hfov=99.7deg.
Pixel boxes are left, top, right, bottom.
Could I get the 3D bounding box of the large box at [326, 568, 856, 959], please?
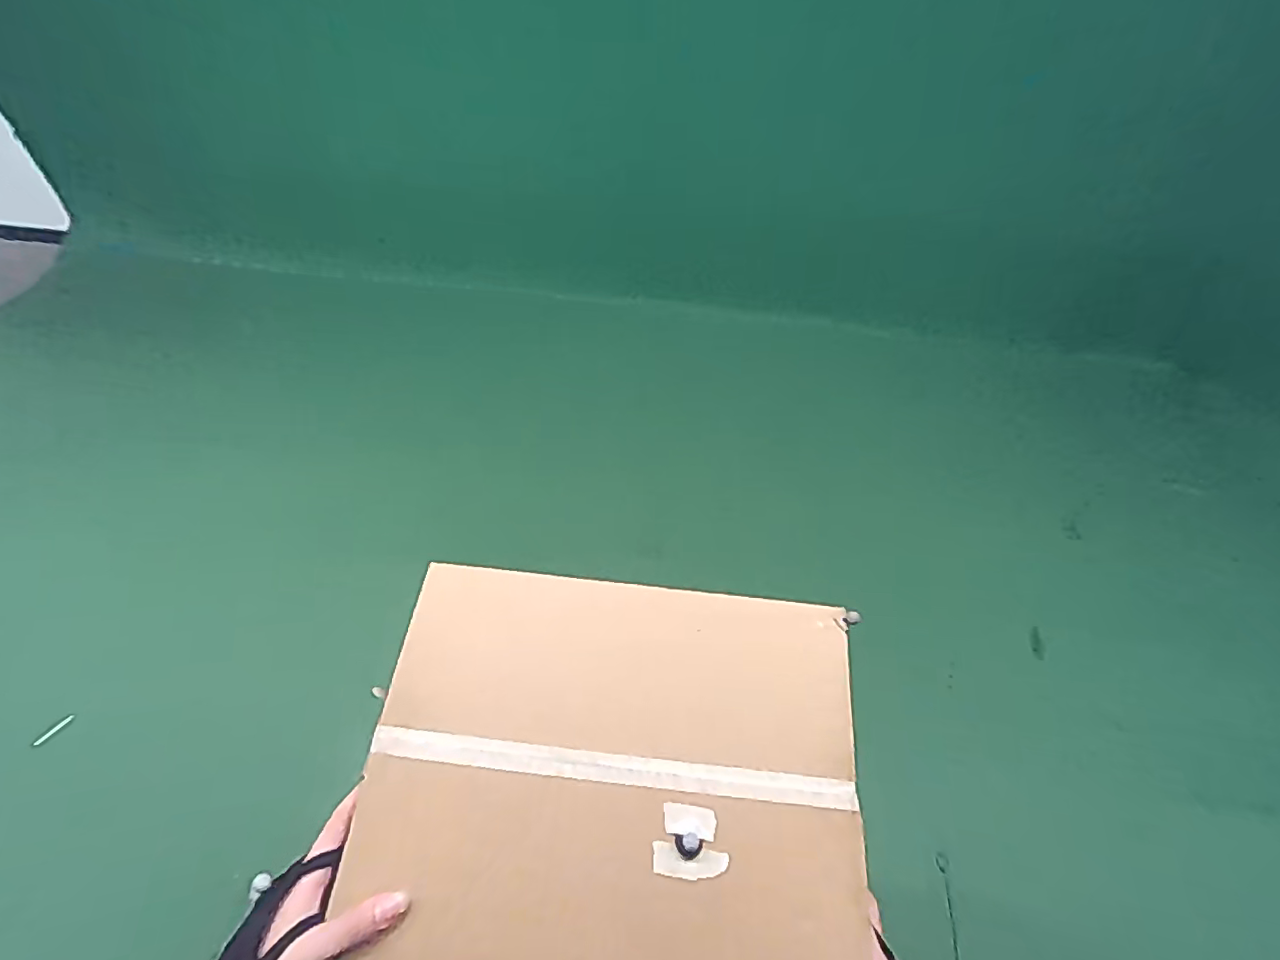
[{"bbox_3d":[-0.029,0.309,0.596,0.408,0.320,0.320,6,63,2],"label":"large box"}]
